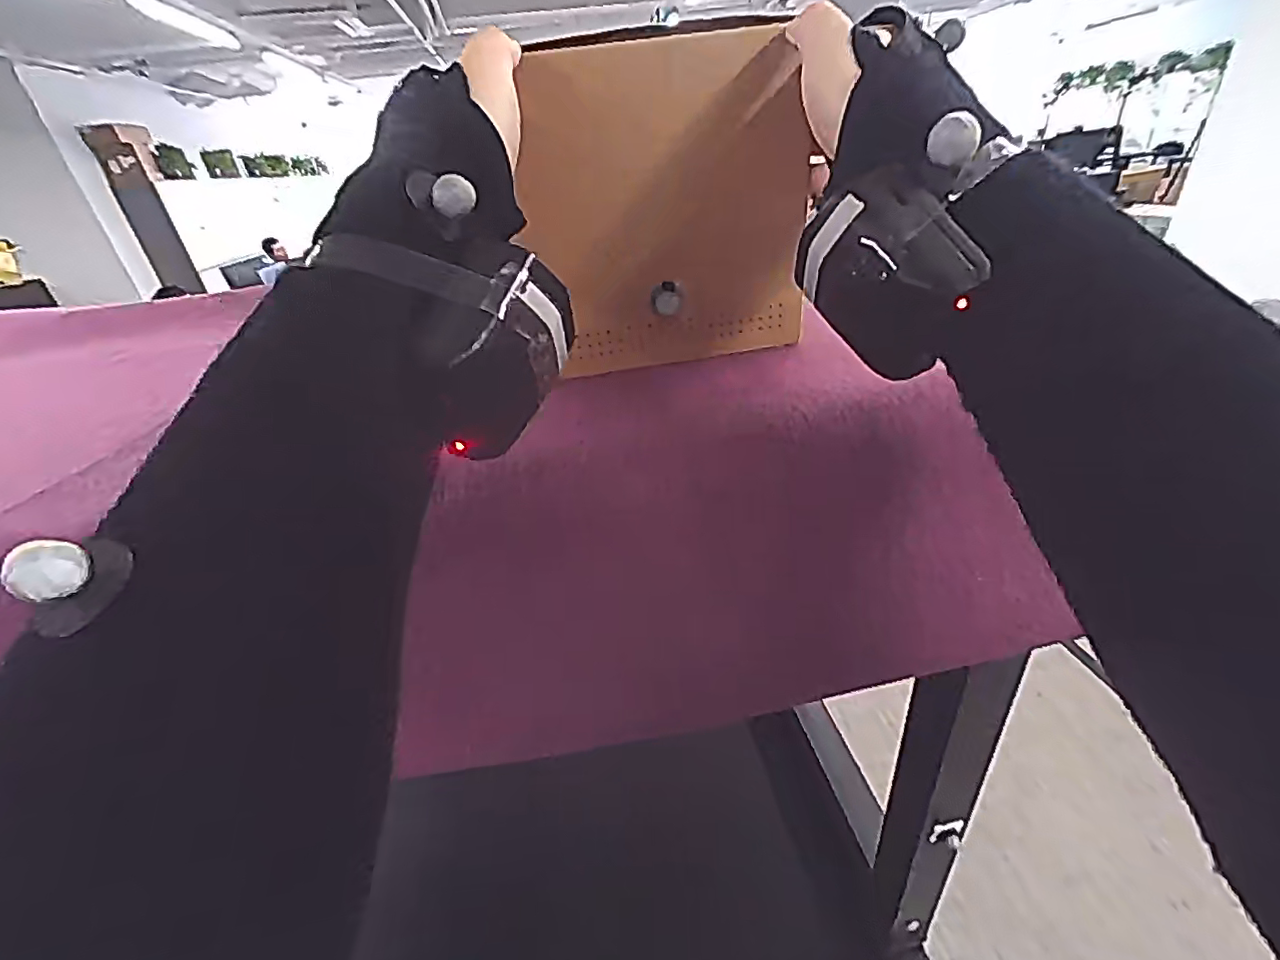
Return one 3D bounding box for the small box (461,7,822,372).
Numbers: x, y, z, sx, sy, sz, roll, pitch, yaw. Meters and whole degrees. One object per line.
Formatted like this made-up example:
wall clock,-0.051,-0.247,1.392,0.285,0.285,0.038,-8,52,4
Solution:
small box,-0.001,-0.187,0.363,0.179,0.176,0.168,-10,33,-4
